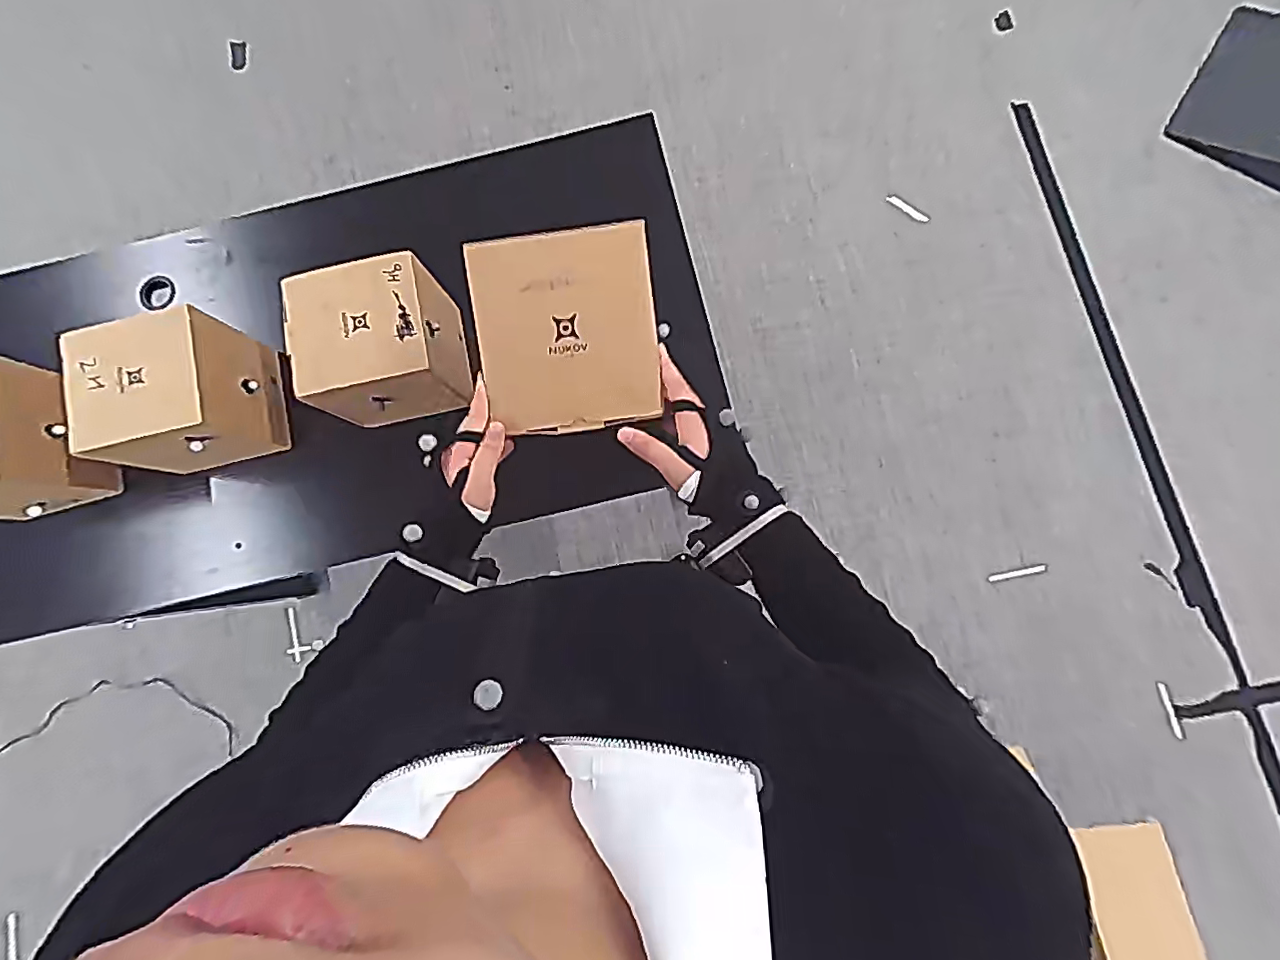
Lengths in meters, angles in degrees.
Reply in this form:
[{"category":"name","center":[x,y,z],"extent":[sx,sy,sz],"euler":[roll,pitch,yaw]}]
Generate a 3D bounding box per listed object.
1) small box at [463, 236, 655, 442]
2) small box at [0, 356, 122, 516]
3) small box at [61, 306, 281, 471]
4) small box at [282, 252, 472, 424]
[{"category":"small box","center":[-0.074,-0.140,0.591],"extent":[0.168,0.176,0.179],"euler":[-8,95,0]},{"category":"small box","center":[-0.906,-0.055,0.774],"extent":[0.168,0.176,0.179],"euler":[-15,83,0]},{"category":"small box","center":[-0.647,-0.119,0.771],"extent":[0.179,0.176,0.168],"euler":[-14,81,0]},{"category":"small box","center":[-0.363,-0.188,0.769],"extent":[0.179,0.176,0.168],"euler":[-12,82,2]}]
